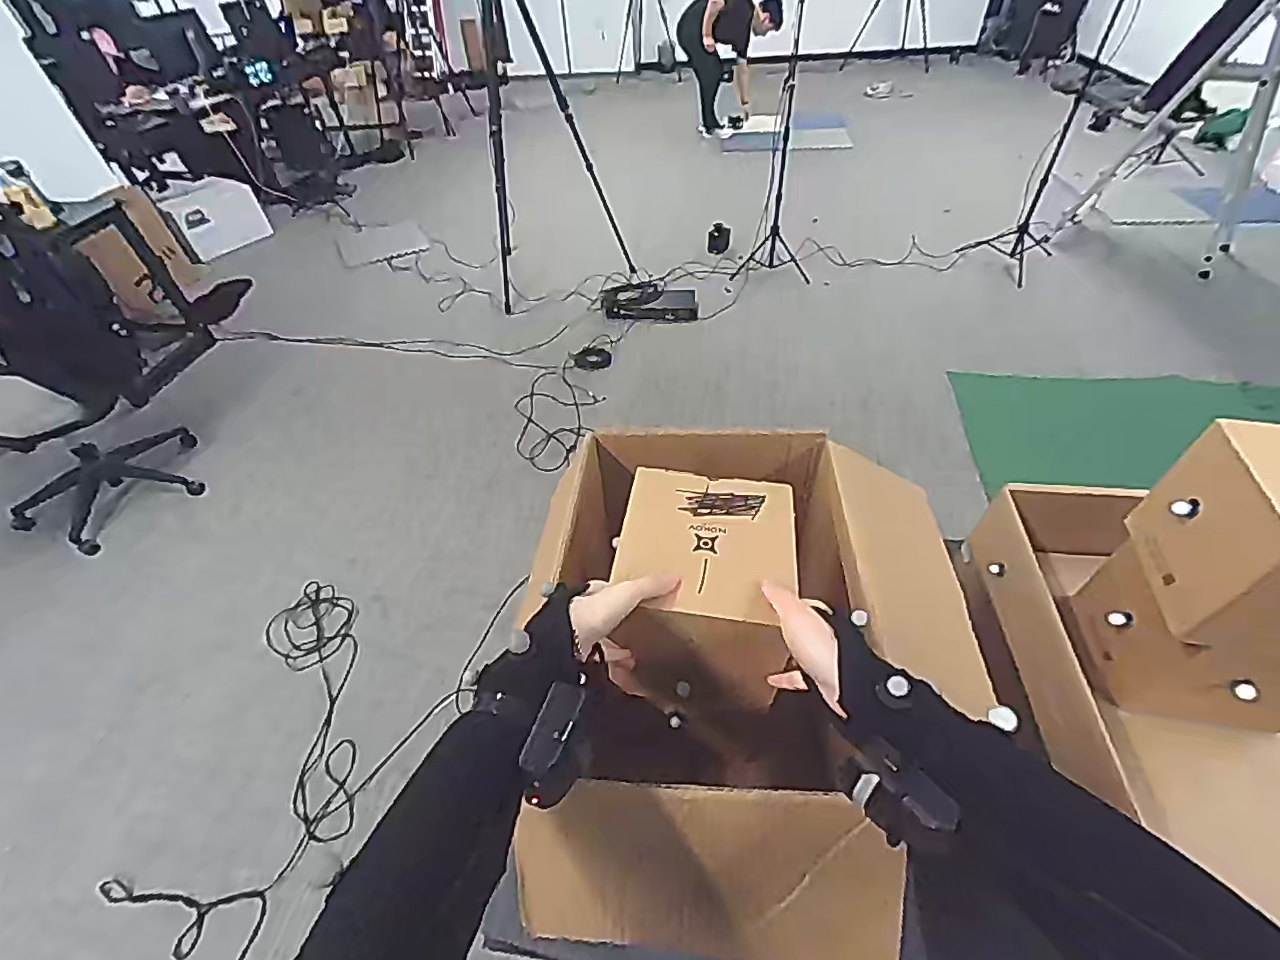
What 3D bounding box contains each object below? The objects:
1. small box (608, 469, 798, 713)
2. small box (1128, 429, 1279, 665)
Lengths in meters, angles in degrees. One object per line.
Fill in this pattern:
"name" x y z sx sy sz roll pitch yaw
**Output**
"small box" 0.064 0.115 0.571 0.168 0.176 0.179 7 45 6
"small box" 0.646 0.073 0.544 0.179 0.176 0.168 9 48 12
